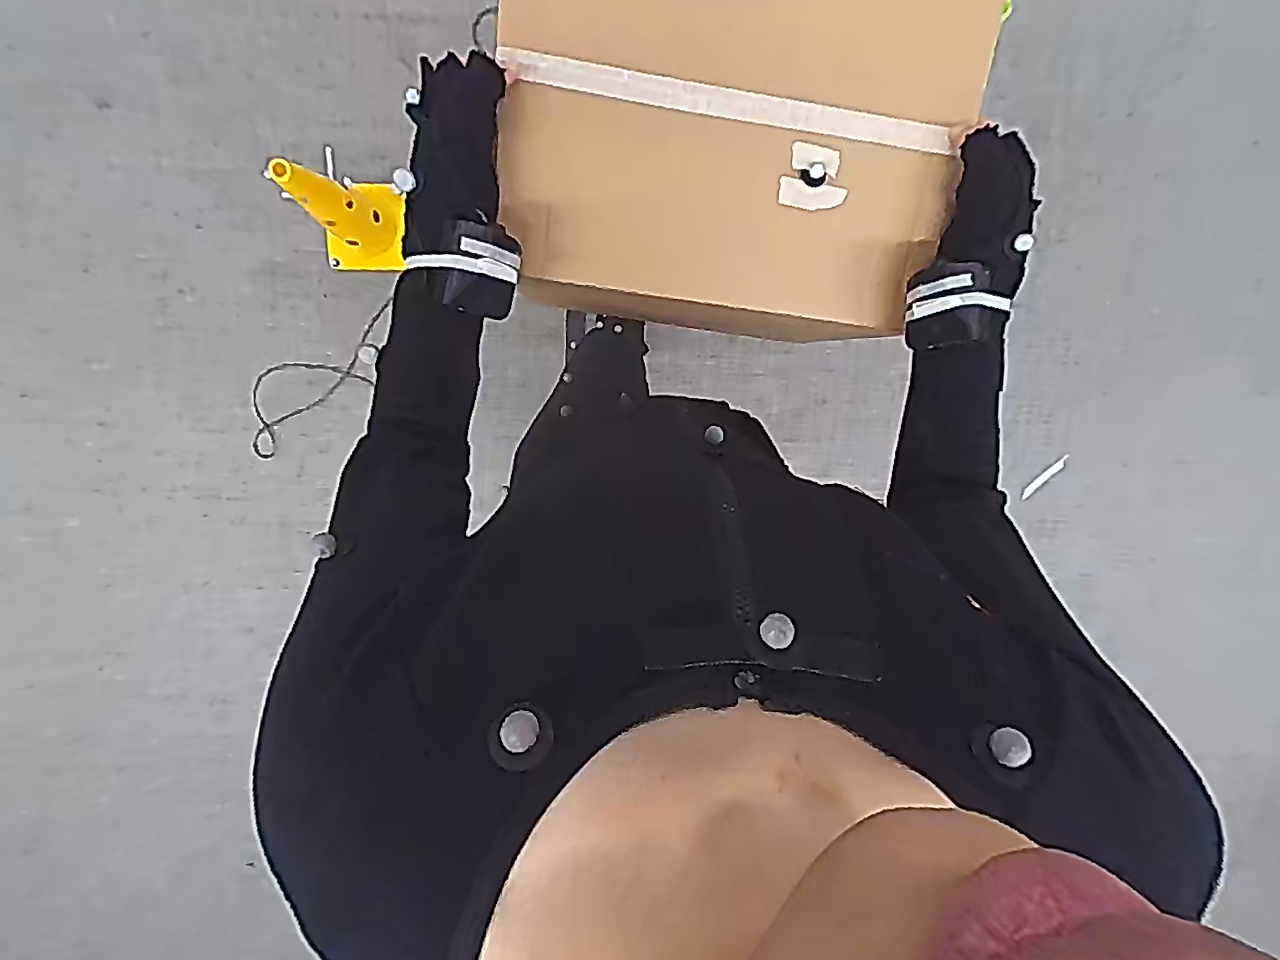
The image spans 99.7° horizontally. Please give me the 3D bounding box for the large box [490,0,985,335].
[{"bbox_3d":[0.068,-0.348,0.600,0.408,0.320,0.320,6,102,-6],"label":"large box"}]
